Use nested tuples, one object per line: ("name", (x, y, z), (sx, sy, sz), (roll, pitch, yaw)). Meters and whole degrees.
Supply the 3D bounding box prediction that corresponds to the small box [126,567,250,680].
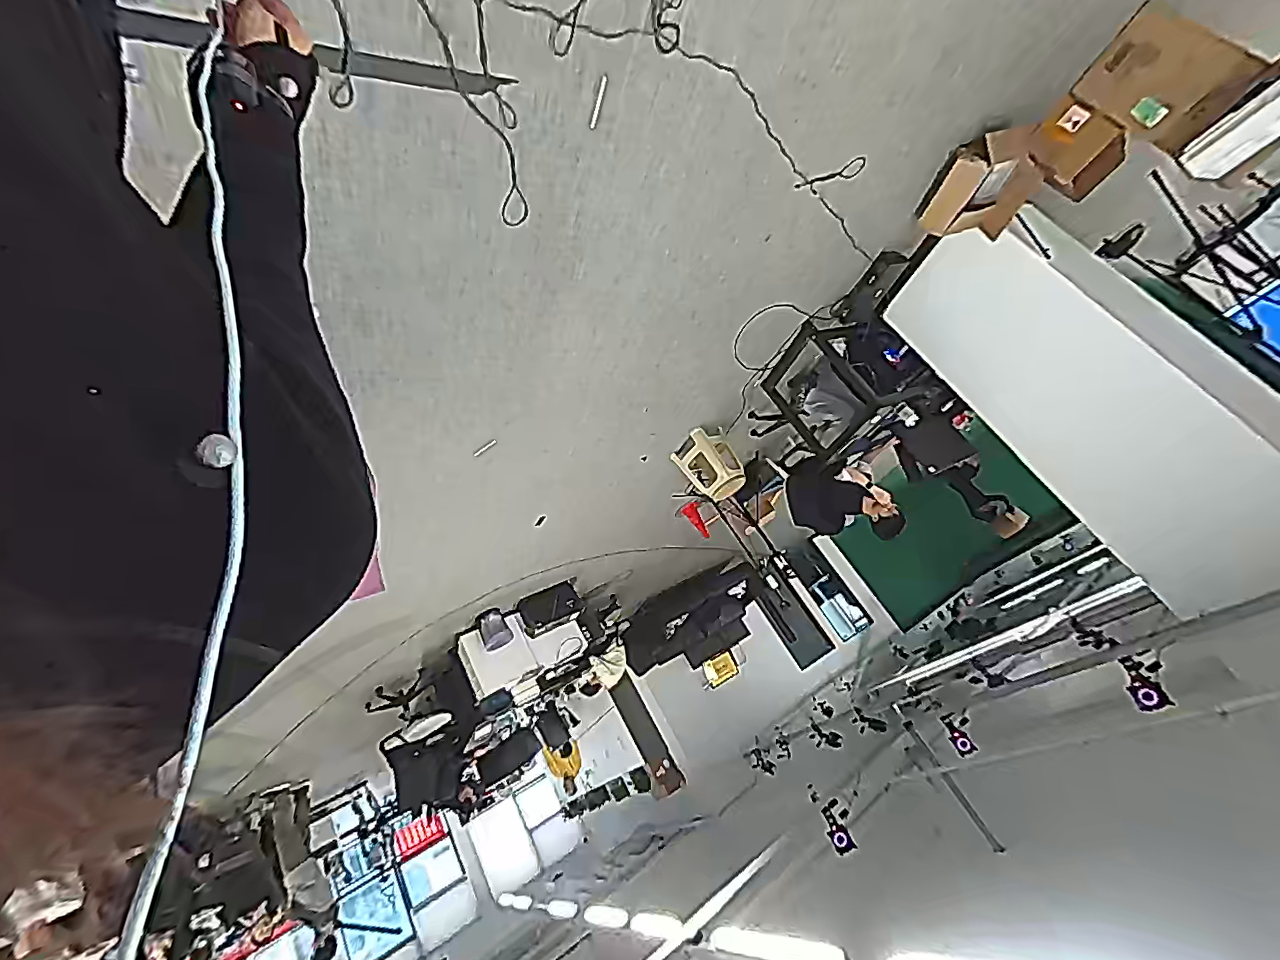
("small box", (-1.011, 0.315, 1.215), (0.168, 0.176, 0.179), (-18, 154, -32))
